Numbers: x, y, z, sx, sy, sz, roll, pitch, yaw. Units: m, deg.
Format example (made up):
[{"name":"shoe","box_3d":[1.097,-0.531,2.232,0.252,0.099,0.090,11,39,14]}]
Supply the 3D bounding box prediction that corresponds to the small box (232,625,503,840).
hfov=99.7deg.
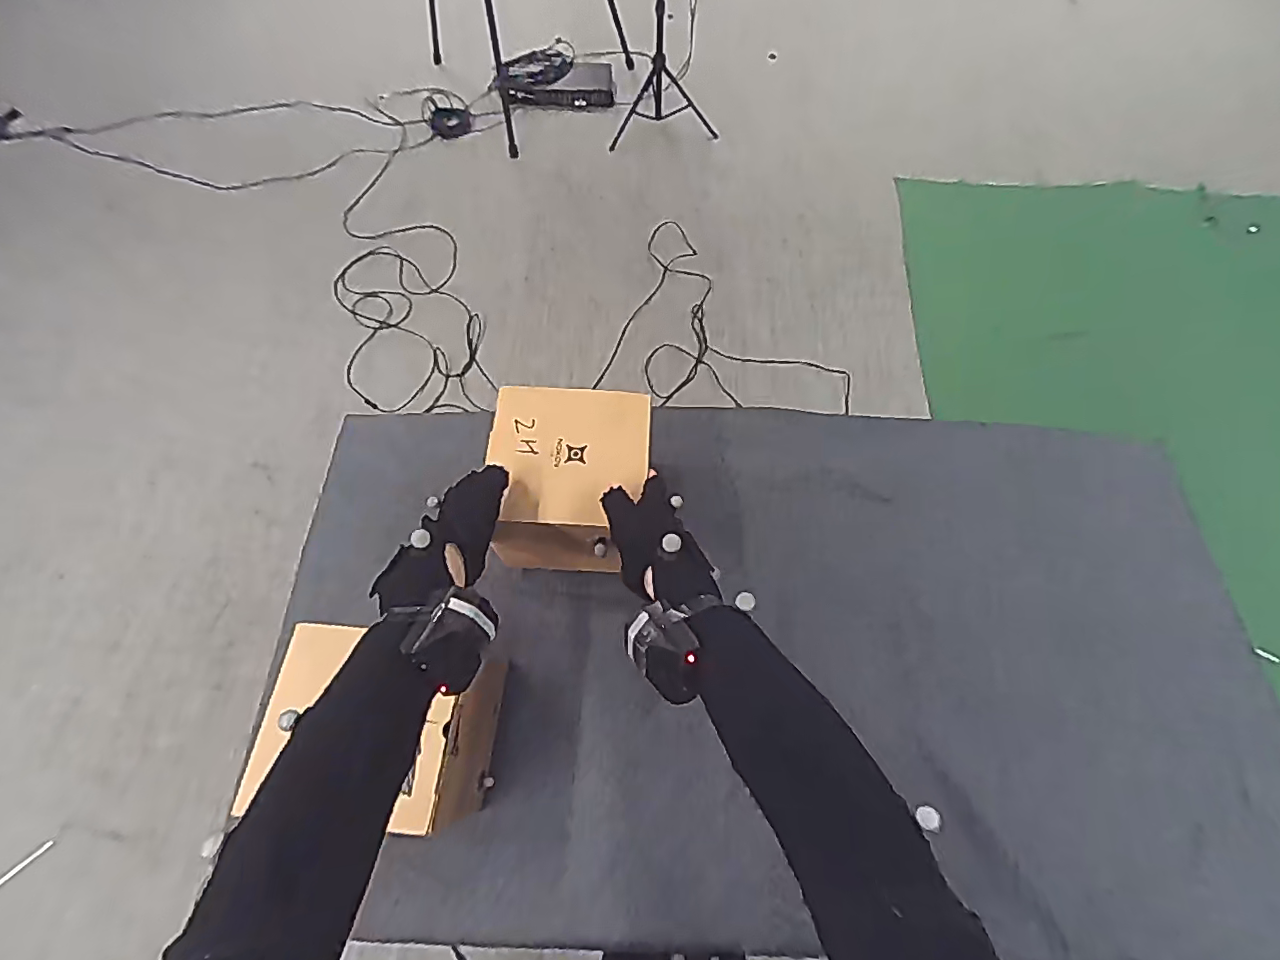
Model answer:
[{"name":"small box","box_3d":[-0.256,0.256,0.564,0.179,0.176,0.168,5,64,3]}]

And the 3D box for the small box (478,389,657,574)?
[{"name":"small box","box_3d":[-0.077,0.011,0.650,0.179,0.176,0.168,4,65,-1]}]
